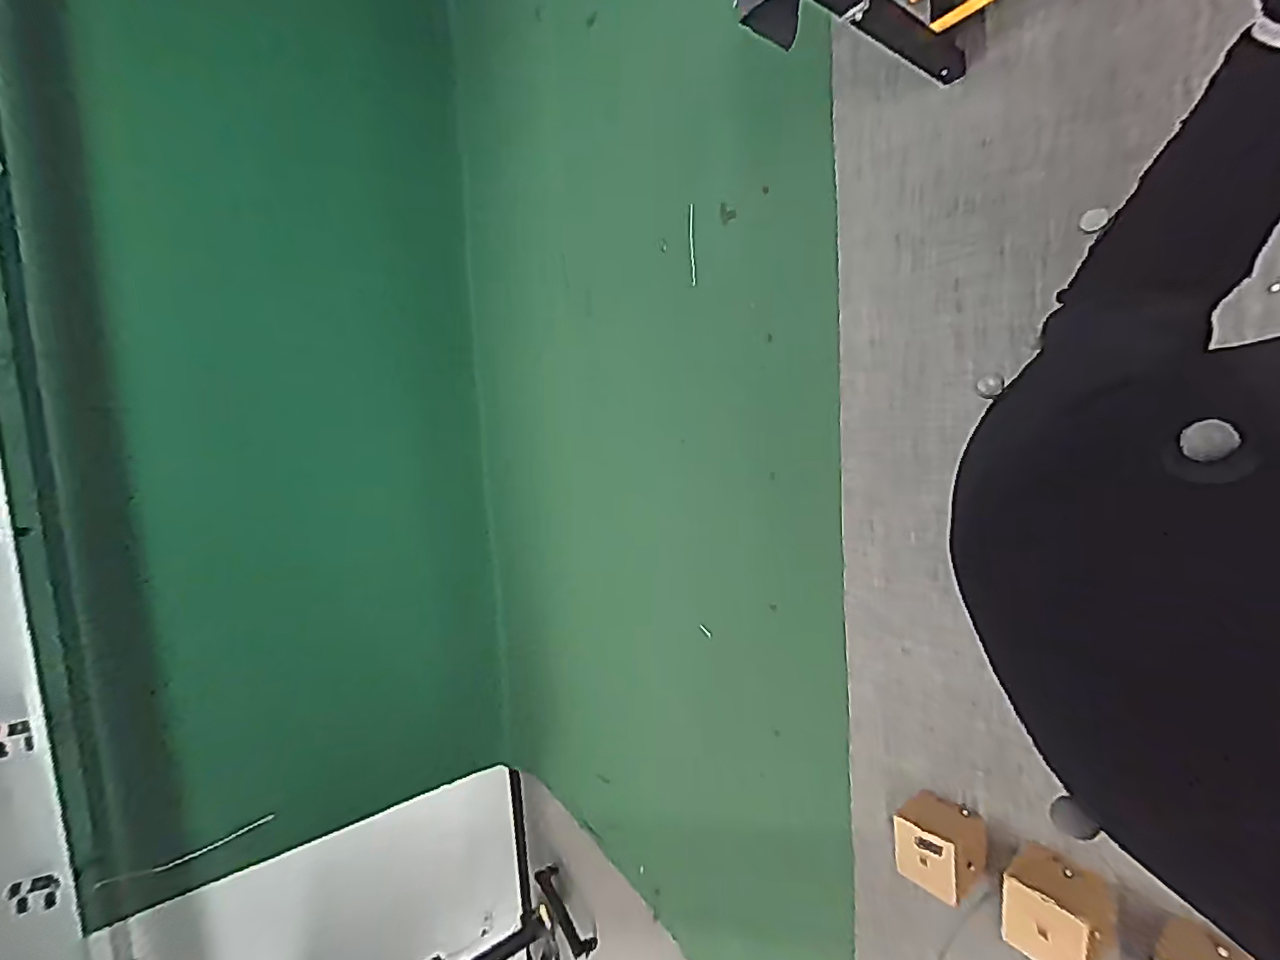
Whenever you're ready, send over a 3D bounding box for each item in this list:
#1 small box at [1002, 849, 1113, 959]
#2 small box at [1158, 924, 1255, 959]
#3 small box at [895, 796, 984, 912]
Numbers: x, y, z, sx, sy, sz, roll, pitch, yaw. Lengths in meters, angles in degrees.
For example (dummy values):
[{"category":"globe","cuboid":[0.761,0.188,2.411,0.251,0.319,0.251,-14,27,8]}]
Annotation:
[{"category":"small box","cuboid":[0.986,1.032,1.278,0.168,0.176,0.179,7,100,55]},{"category":"small box","cuboid":[1.139,1.042,1.058,0.168,0.176,0.179,3,97,53]},{"category":"small box","cuboid":[0.830,1.021,1.496,0.168,0.176,0.179,1,96,55]}]
